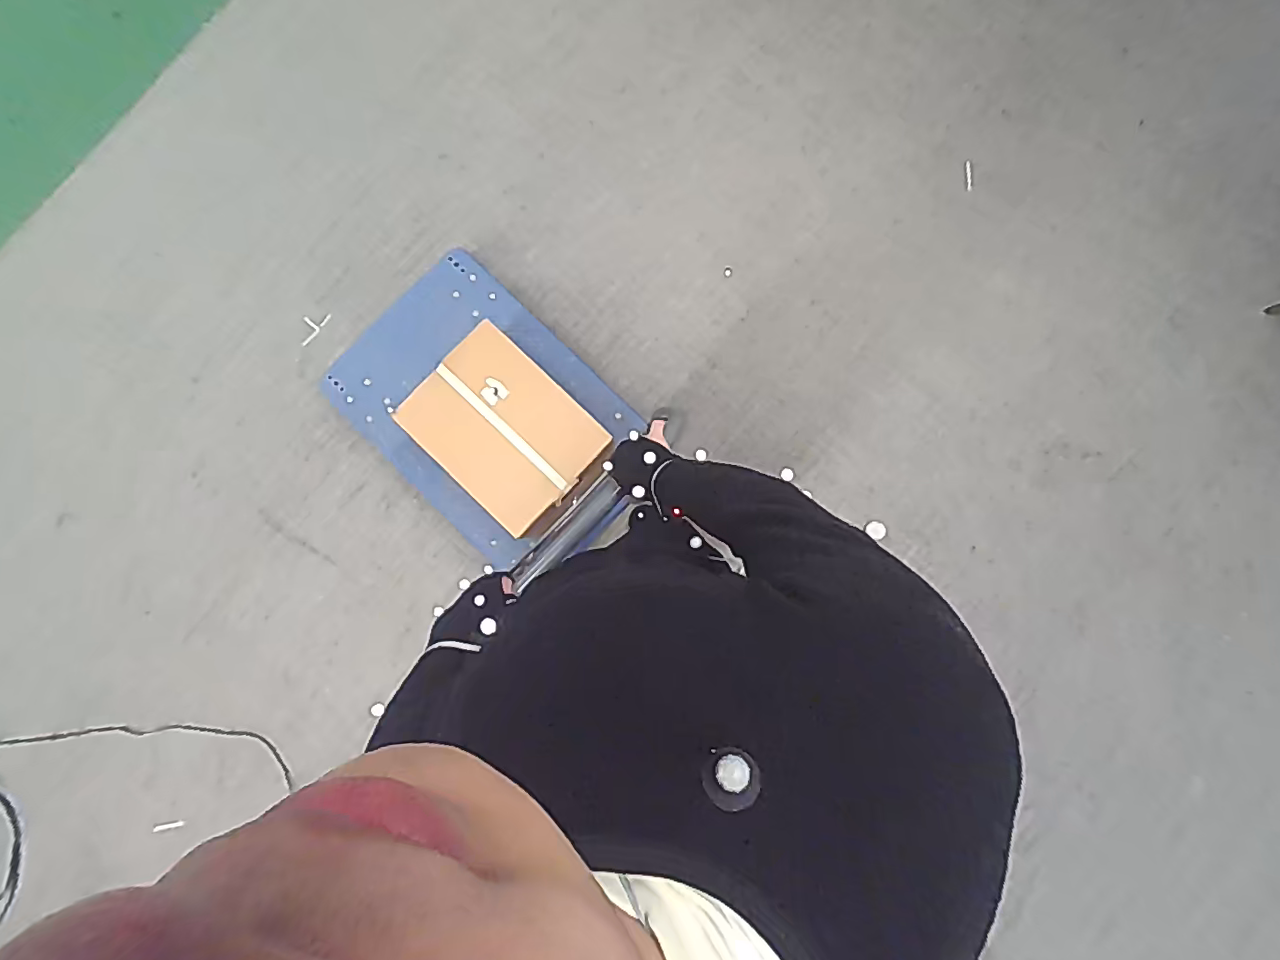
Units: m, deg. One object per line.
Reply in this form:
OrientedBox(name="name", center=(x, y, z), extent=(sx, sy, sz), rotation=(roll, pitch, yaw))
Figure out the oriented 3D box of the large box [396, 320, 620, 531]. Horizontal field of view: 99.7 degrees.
OrientedBox(name="large box", center=(-0.303, -0.114, 1.366), extent=(0.408, 0.320, 0.320), rotation=(44, 87, 5))
